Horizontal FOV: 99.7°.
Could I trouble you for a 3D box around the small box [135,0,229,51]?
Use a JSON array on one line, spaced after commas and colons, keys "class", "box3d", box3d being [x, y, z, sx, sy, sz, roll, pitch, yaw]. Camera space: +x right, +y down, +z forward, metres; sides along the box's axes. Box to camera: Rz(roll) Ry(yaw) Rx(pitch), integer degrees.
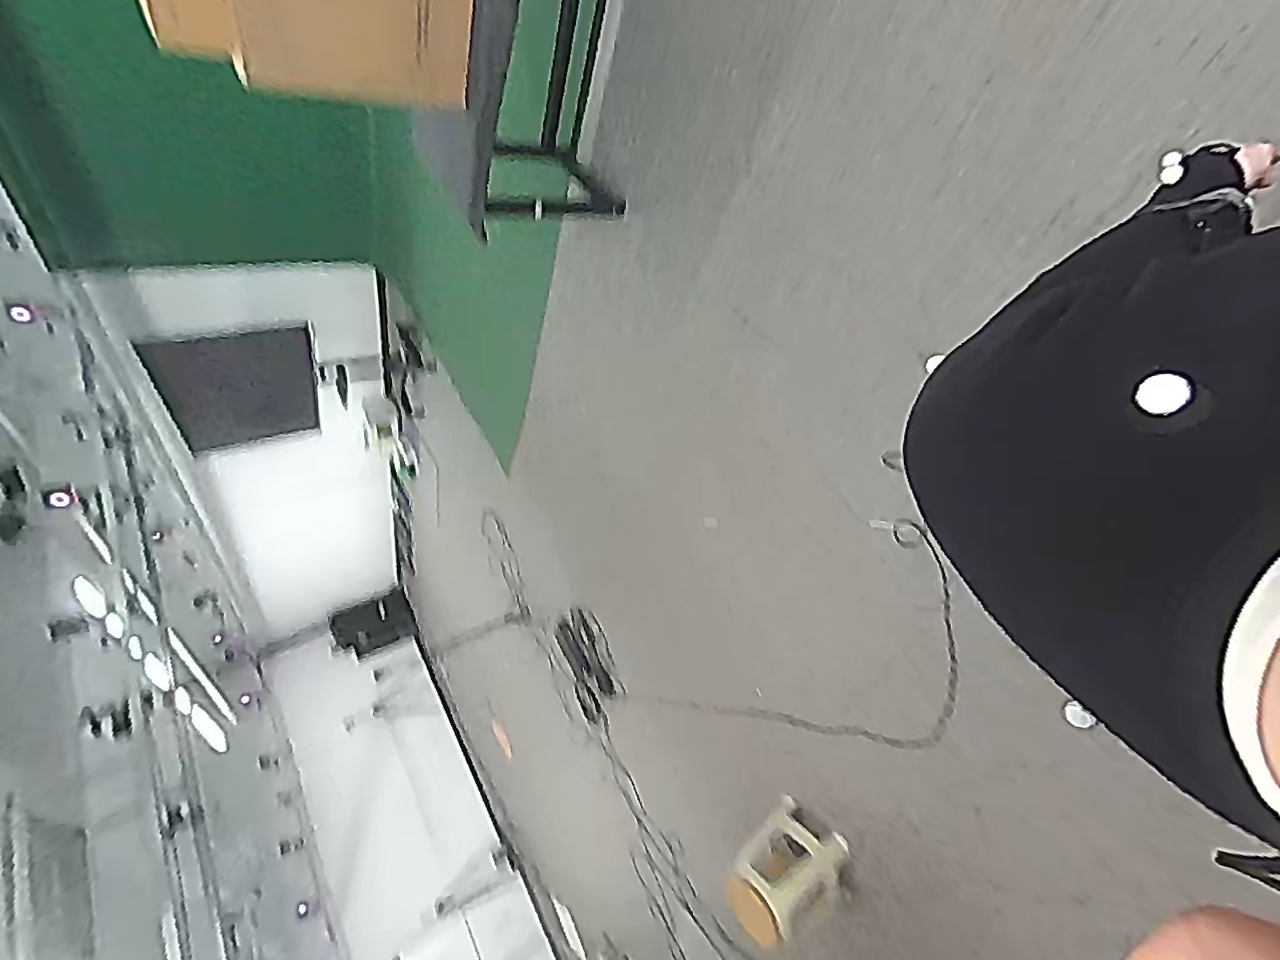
[{"class": "small box", "box3d": [-1.184, -1.240, 1.381, 0.168, 0.176, 0.179, 54, 142, 19]}]
